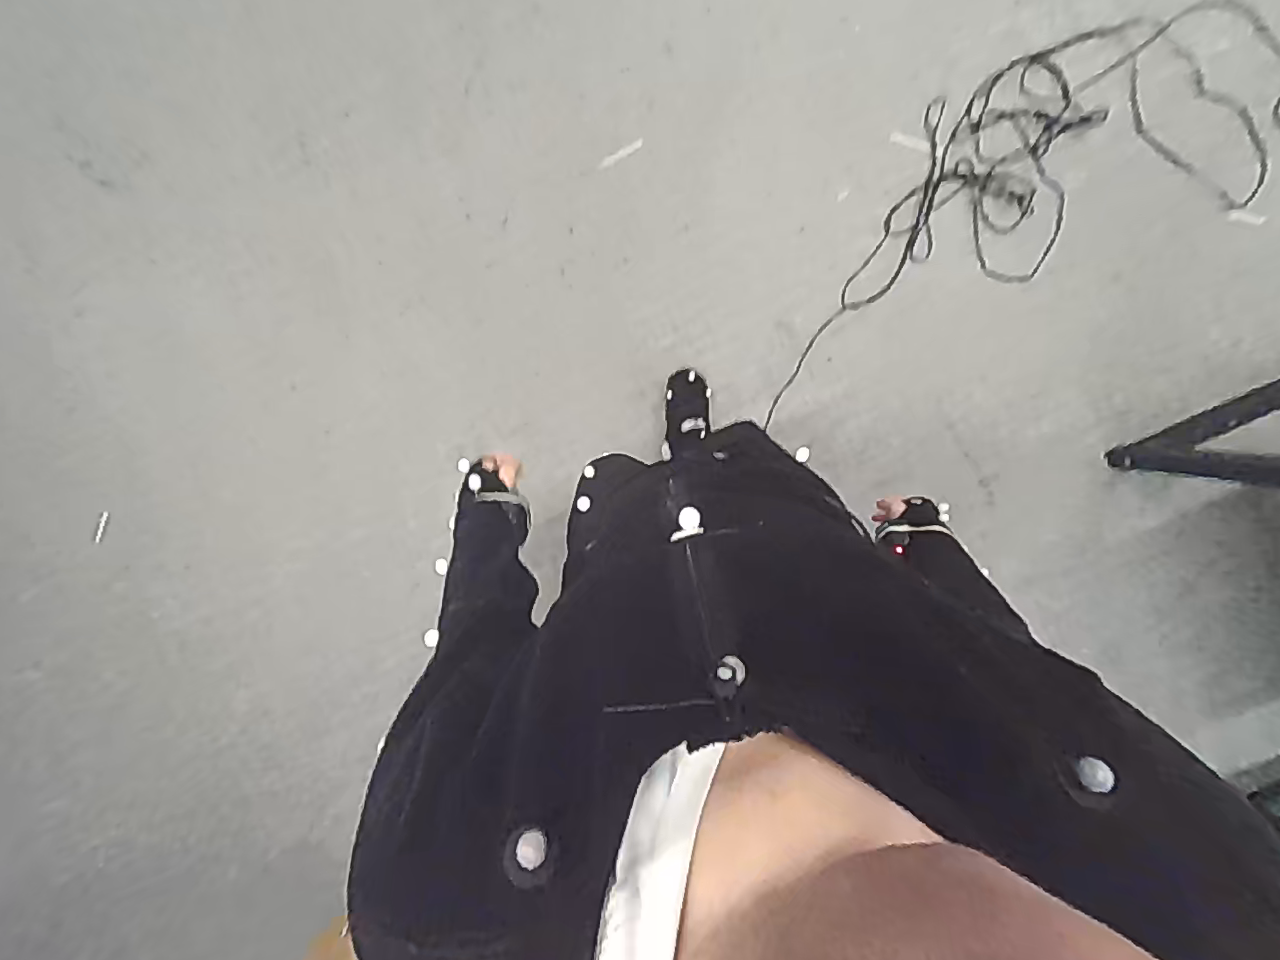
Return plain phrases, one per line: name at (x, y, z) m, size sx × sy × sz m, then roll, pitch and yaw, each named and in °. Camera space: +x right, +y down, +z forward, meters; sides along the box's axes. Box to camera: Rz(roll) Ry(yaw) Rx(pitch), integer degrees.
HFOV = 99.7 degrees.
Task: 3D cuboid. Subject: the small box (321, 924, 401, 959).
small box at (-0.827, 1.441, 1.567) m, size 0.168 × 0.176 × 0.179 m, roll -21°, pitch 97°, yaw 2°
